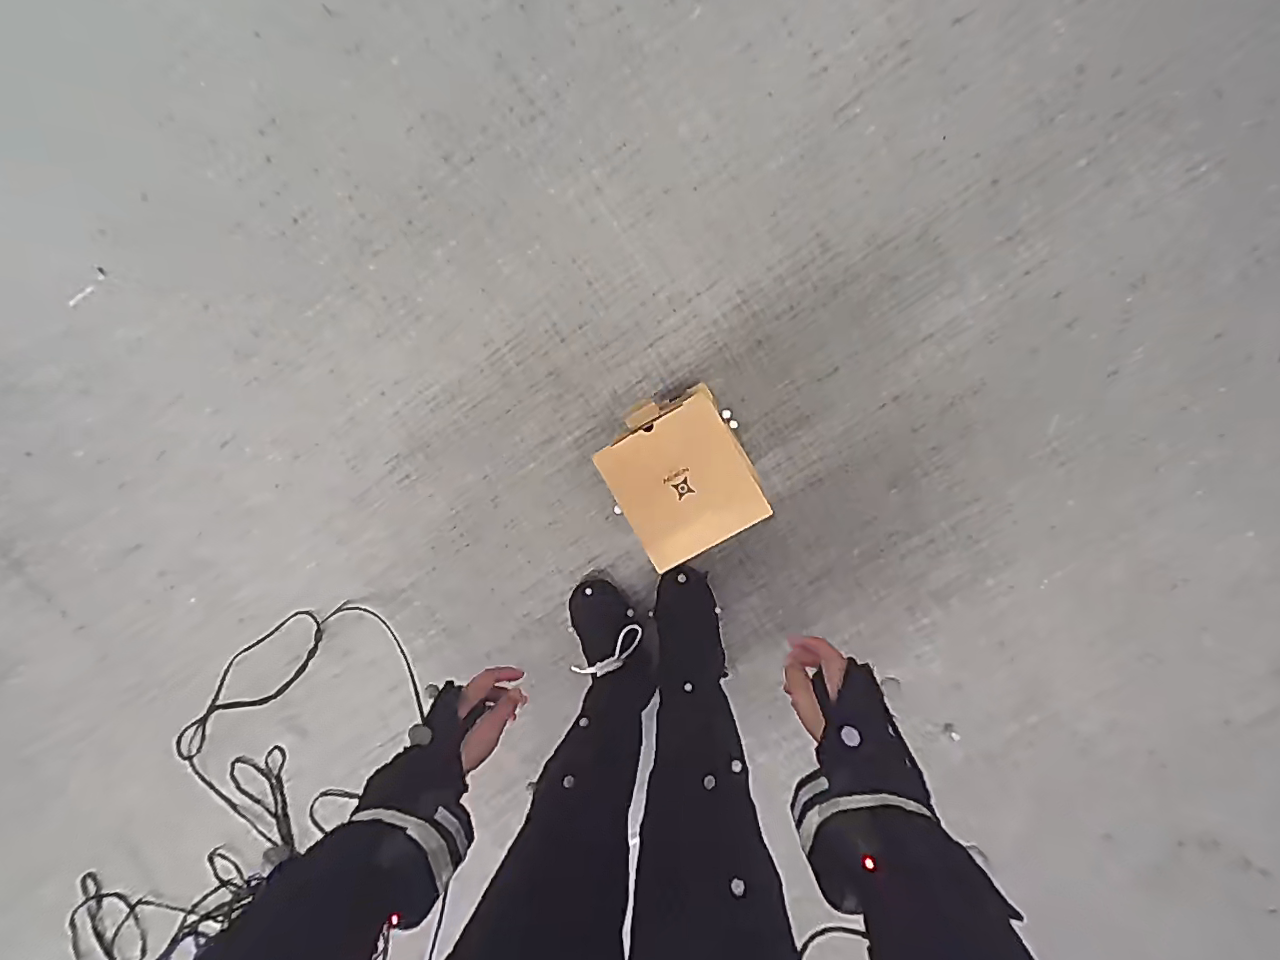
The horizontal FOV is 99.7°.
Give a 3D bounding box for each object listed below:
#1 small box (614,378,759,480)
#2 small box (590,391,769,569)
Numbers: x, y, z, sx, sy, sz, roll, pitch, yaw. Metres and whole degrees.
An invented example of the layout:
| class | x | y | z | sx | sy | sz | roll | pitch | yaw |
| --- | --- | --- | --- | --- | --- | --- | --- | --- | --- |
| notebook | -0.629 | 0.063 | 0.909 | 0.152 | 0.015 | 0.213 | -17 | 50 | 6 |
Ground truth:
| class | x | y | z | sx | sy | sz | roll | pitch | yaw |
| --- | --- | --- | --- | --- | --- | --- | --- | --- | --- |
| small box | 0.077 | -0.049 | 0.904 | 0.168 | 0.176 | 0.179 | -30 | 93 | 9 |
| small box | 0.058 | -0.009 | 0.746 | 0.168 | 0.176 | 0.179 | -30 | 94 | 9 |
